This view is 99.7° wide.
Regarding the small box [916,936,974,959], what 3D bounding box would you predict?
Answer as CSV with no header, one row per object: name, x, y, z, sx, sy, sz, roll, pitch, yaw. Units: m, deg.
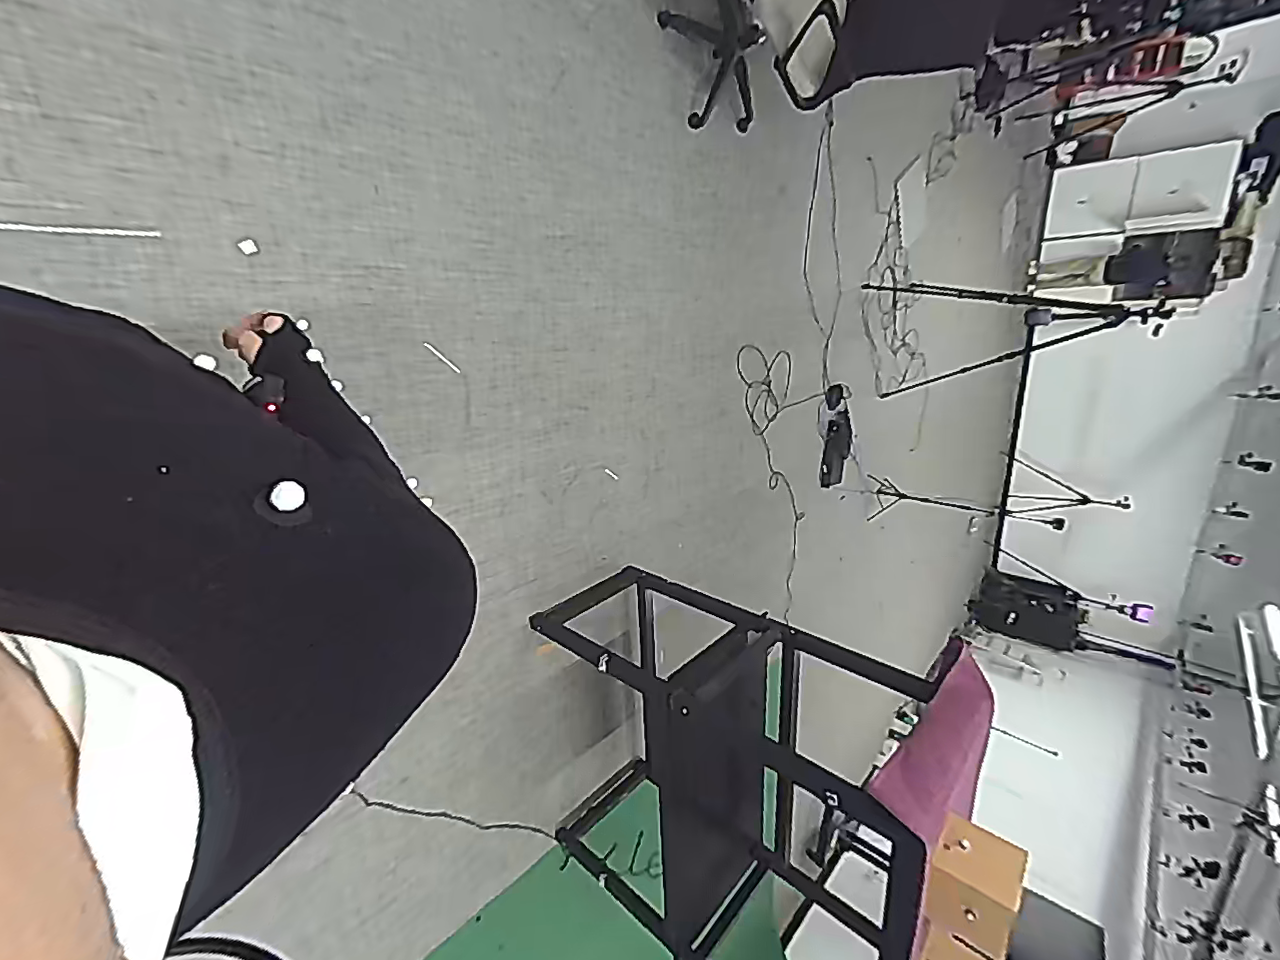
small box,0.781,1.315,1.363,0.168,0.176,0.179,-18,113,-43

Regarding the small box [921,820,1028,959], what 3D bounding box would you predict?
small box,0.765,0.941,1.245,0.168,0.176,0.179,-21,115,-43
